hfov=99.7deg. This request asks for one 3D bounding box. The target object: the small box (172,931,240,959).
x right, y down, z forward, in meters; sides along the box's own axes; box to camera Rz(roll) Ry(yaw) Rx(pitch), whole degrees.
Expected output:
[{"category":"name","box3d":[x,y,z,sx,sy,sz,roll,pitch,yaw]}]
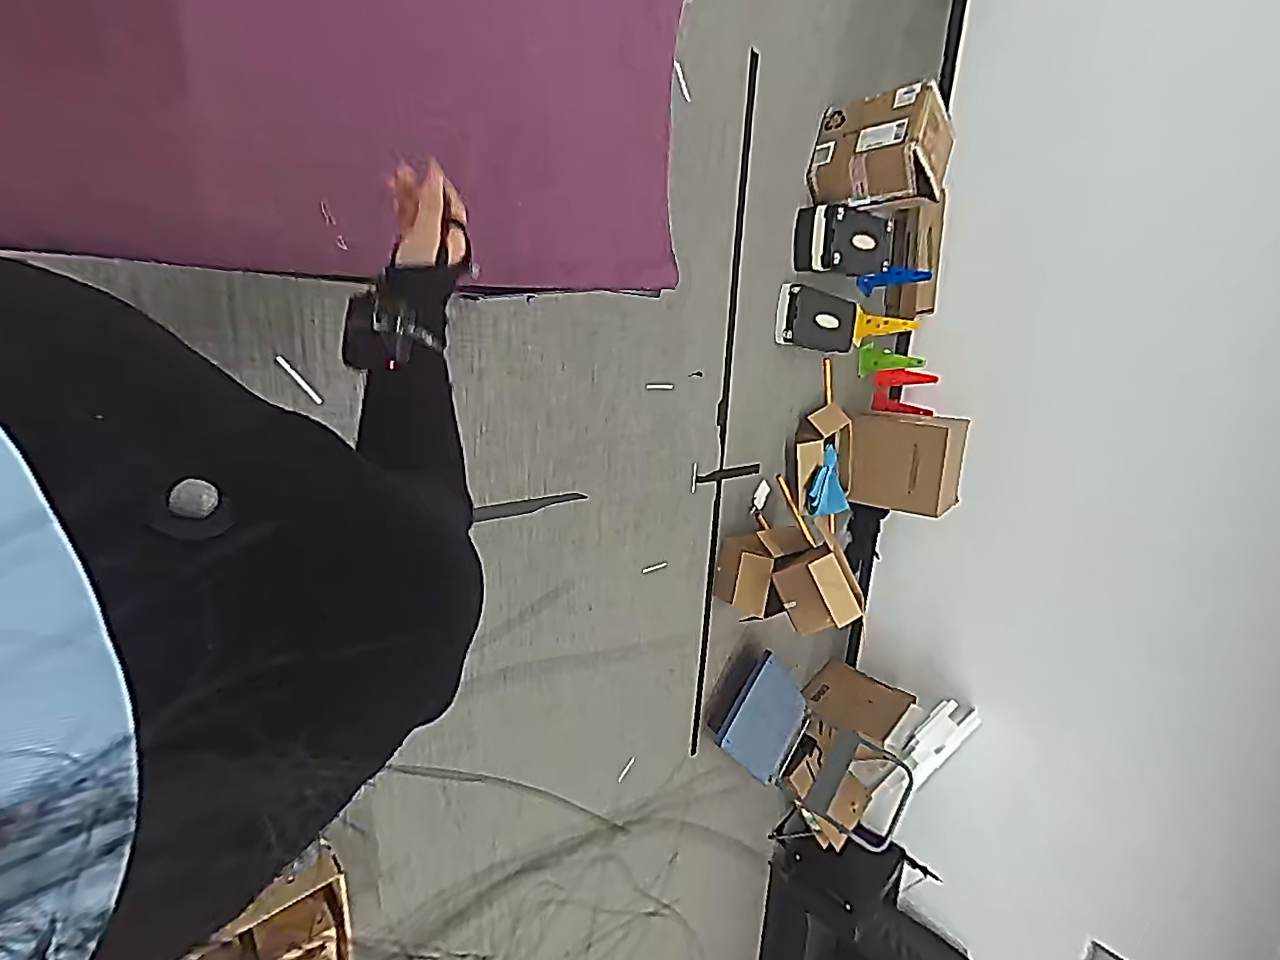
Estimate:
[{"category":"small box","box3d":[-1.078,1.273,1.330,0.168,0.176,0.179,-16,113,-42]}]
